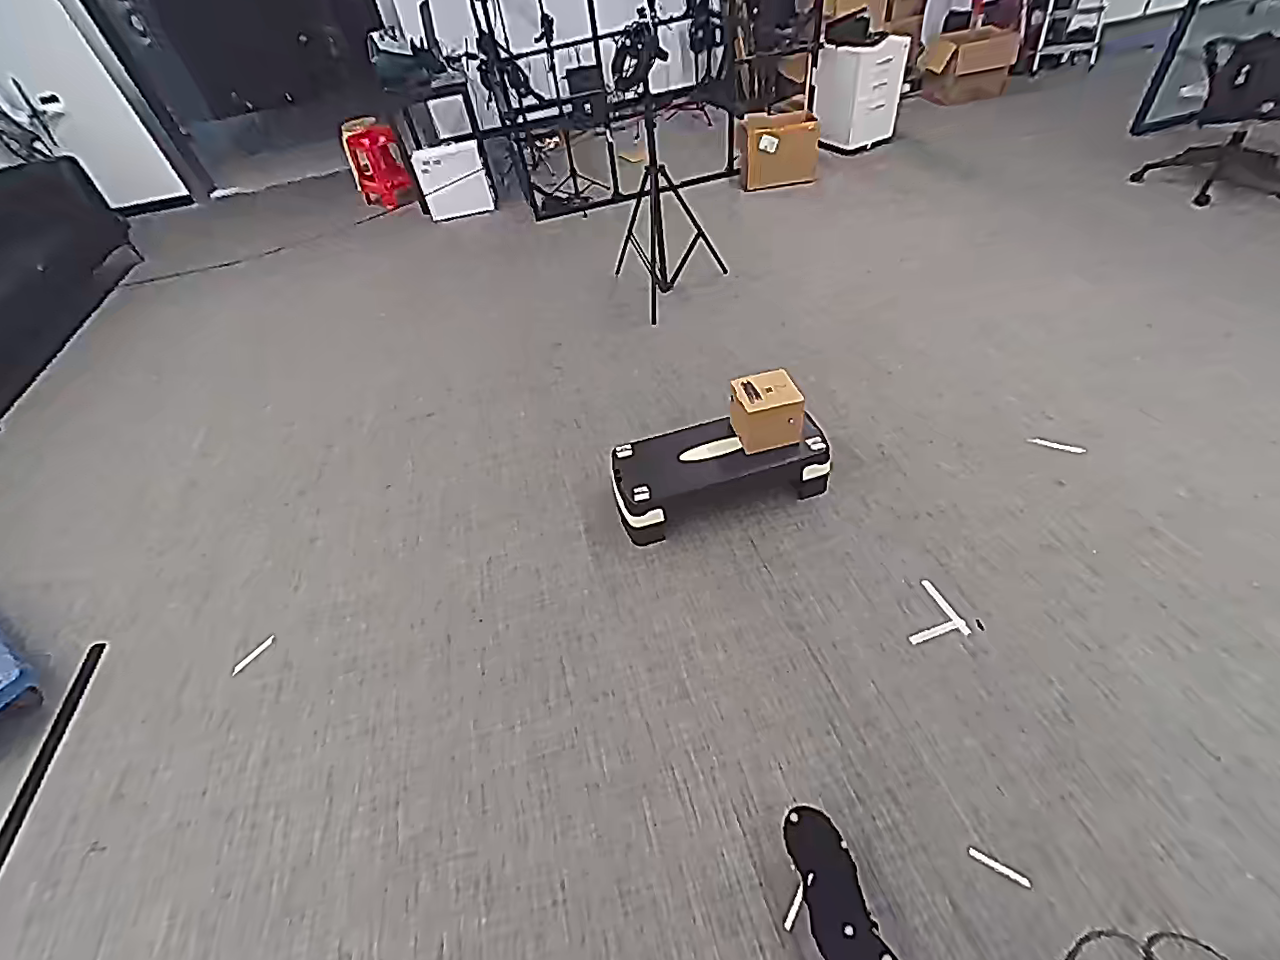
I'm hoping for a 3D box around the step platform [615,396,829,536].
[{"bbox_3d":[0.262,-0.055,1.782,0.684,0.204,0.286,-16,46,-5],"label":"step platform"}]
